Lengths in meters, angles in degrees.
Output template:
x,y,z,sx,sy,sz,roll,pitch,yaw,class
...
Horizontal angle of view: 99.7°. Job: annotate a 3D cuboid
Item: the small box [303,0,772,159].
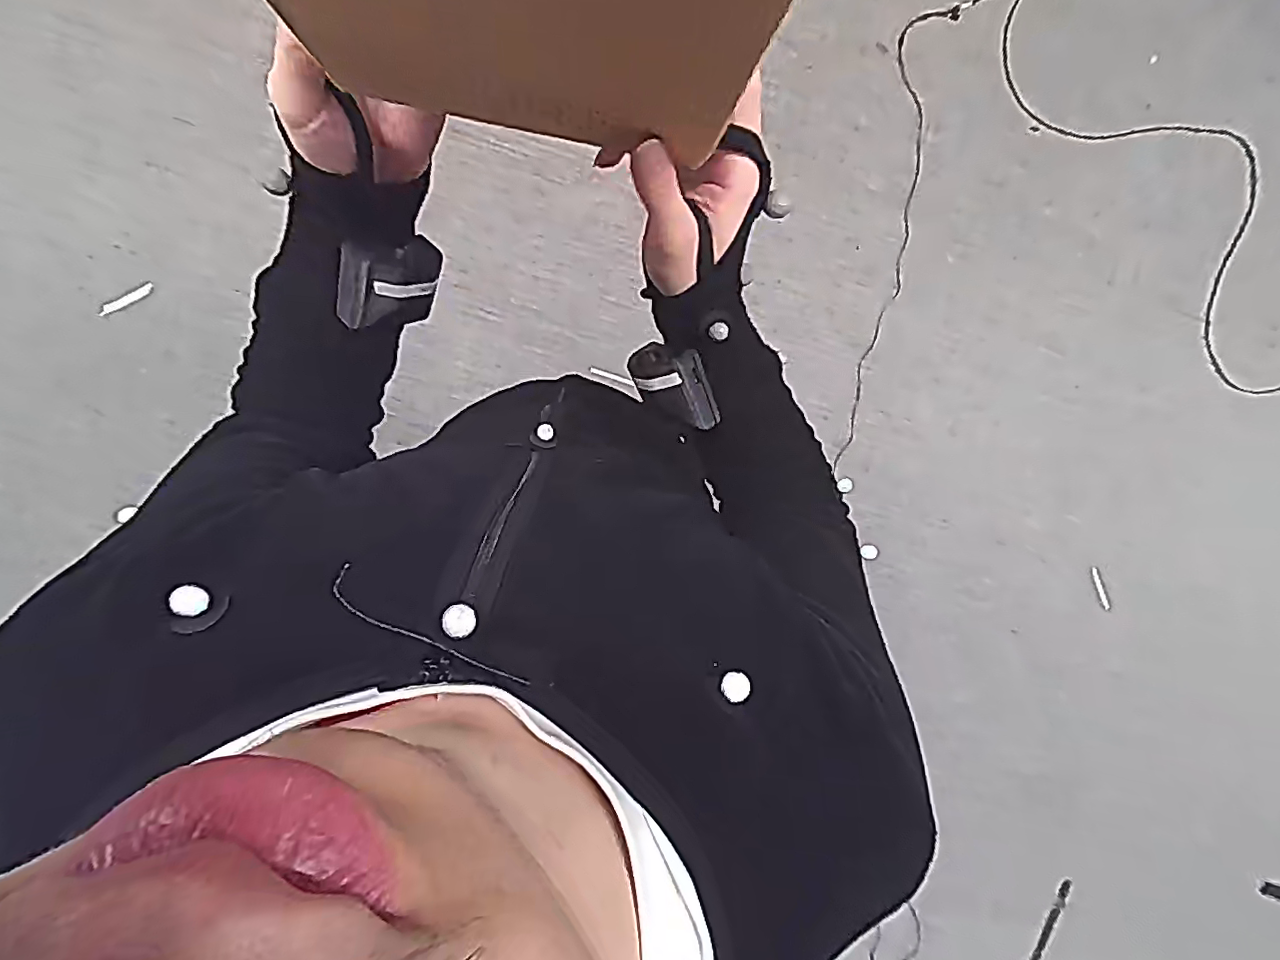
x,y,z,sx,sy,sz,roll,pitch,yaw,class
-0.032,-0.237,0.181,0.179,0.176,0.168,7,99,-7,small box
